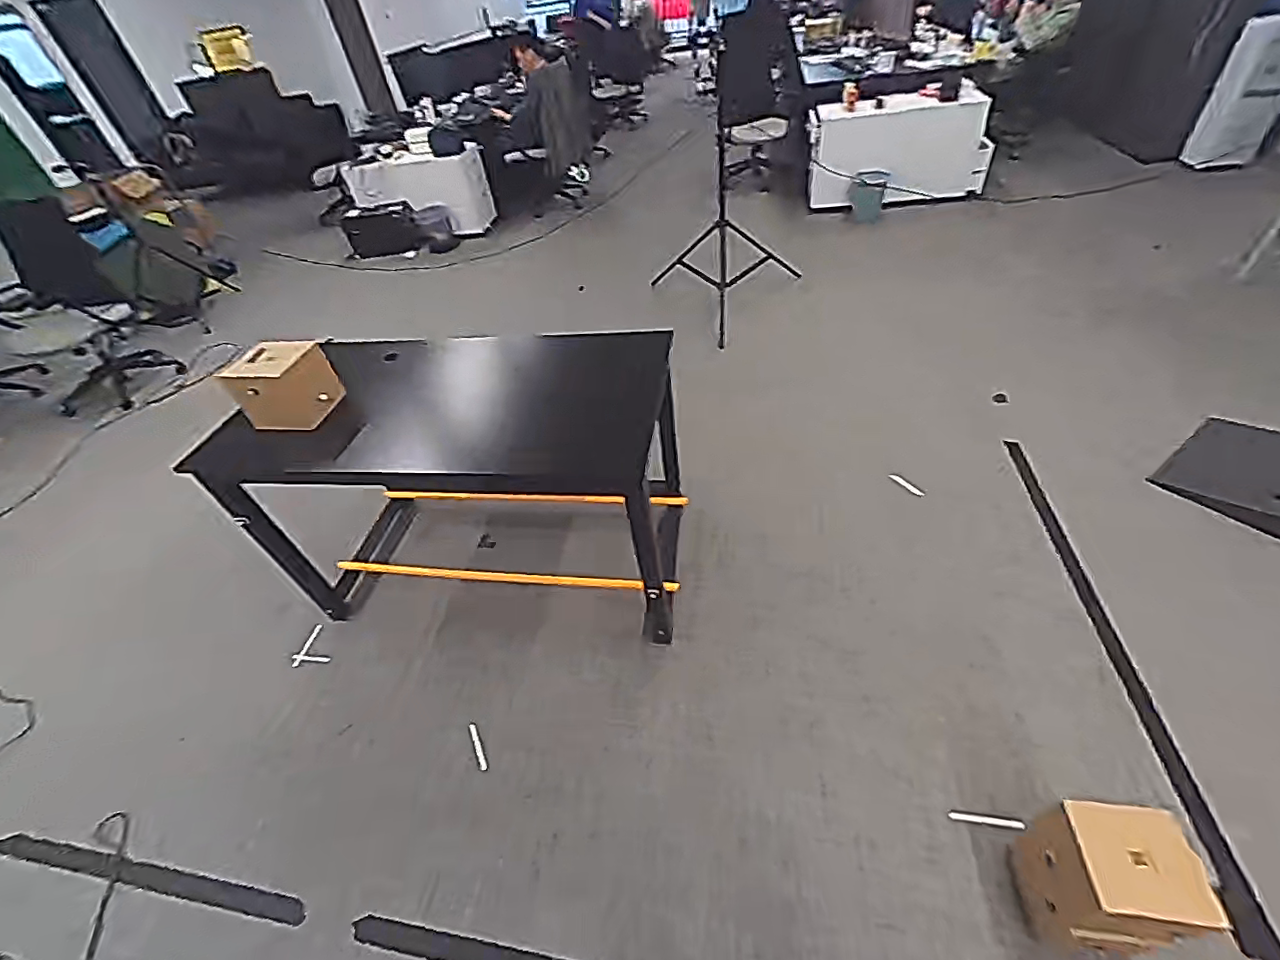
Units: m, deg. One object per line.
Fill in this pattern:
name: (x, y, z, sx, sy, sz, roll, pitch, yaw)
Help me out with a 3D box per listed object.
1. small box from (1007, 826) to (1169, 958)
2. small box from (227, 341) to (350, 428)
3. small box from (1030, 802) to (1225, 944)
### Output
small box: (0.867, 0.816, 1.070, 0.168, 0.176, 0.179, 0, 44, 10)
small box: (-0.919, -0.251, 1.431, 0.179, 0.176, 0.168, 2, 45, 11)
small box: (0.843, 0.698, 0.961, 0.179, 0.176, 0.168, 0, 43, 12)
